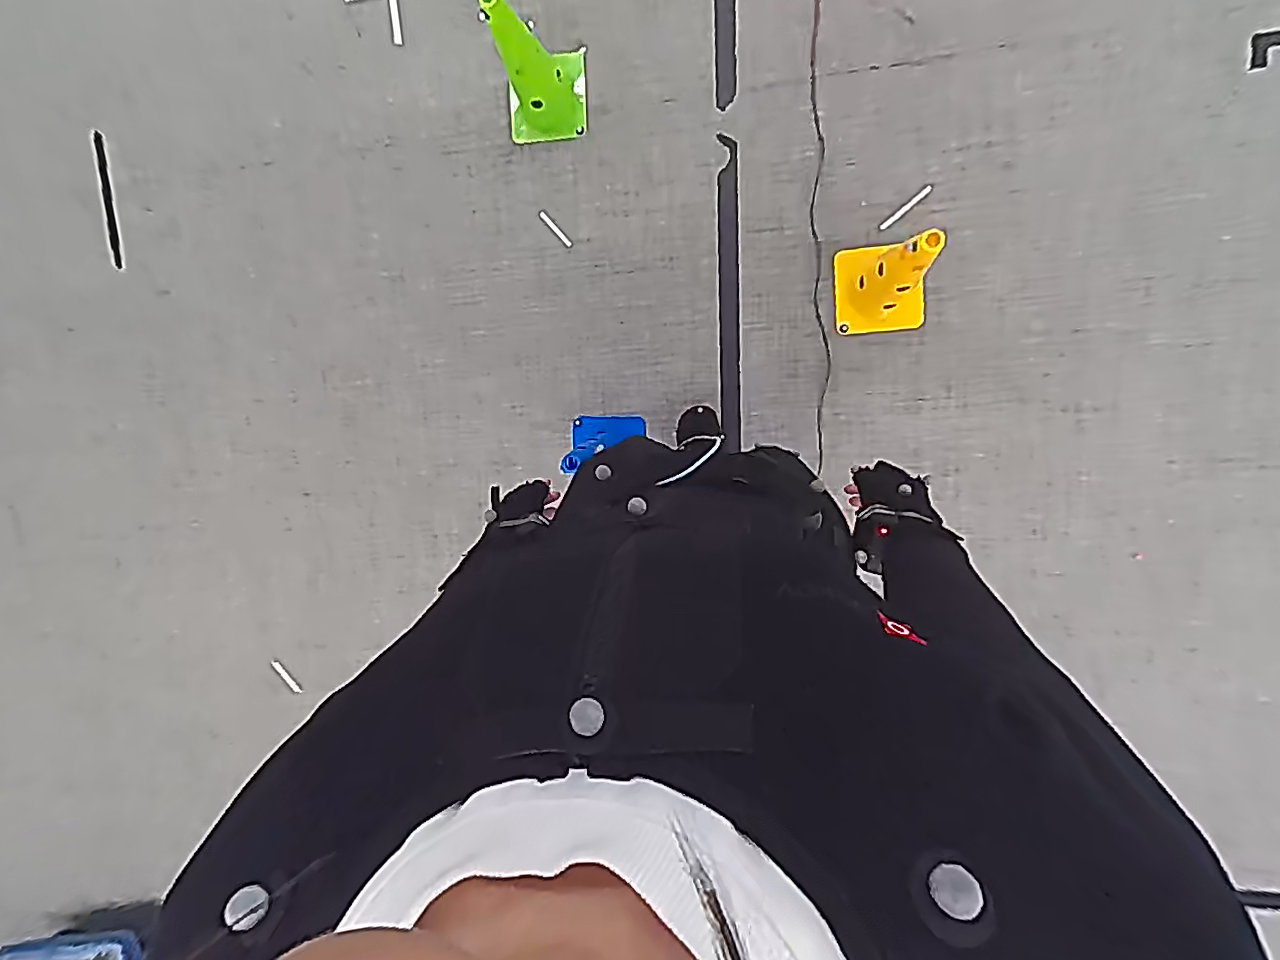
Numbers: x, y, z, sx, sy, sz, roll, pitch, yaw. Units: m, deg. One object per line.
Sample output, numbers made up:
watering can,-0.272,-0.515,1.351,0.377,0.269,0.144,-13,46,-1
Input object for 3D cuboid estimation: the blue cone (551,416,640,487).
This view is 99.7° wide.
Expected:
blue cone,-0.123,-0.058,1.290,0.192,0.380,0.193,3,97,10

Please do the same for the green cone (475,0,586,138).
green cone,-0.268,-0.961,1.197,0.202,0.368,0.200,-1,96,11
